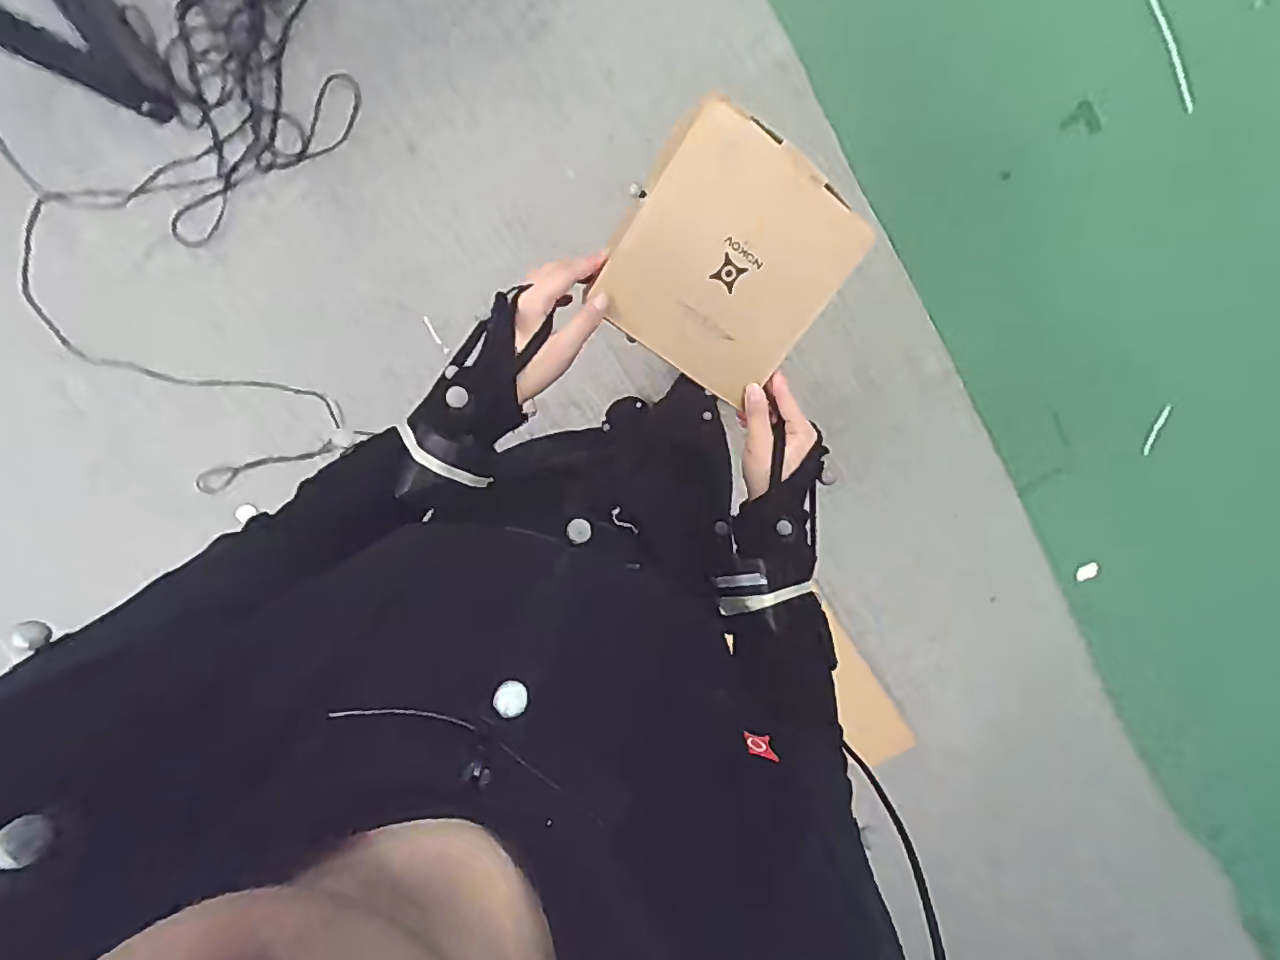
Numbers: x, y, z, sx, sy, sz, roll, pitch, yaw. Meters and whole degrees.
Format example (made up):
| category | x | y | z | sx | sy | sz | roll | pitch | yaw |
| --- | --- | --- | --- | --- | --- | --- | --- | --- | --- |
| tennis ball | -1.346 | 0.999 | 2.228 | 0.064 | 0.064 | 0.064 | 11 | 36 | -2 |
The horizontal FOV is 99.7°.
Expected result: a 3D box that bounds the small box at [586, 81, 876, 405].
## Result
| category | x | y | z | sx | sy | sz | roll | pitch | yaw |
| --- | --- | --- | --- | --- | --- | --- | --- | --- | --- |
| small box | 0.062 | -0.202 | 0.487 | 0.168 | 0.176 | 0.179 | 30 | 109 | -17 |
